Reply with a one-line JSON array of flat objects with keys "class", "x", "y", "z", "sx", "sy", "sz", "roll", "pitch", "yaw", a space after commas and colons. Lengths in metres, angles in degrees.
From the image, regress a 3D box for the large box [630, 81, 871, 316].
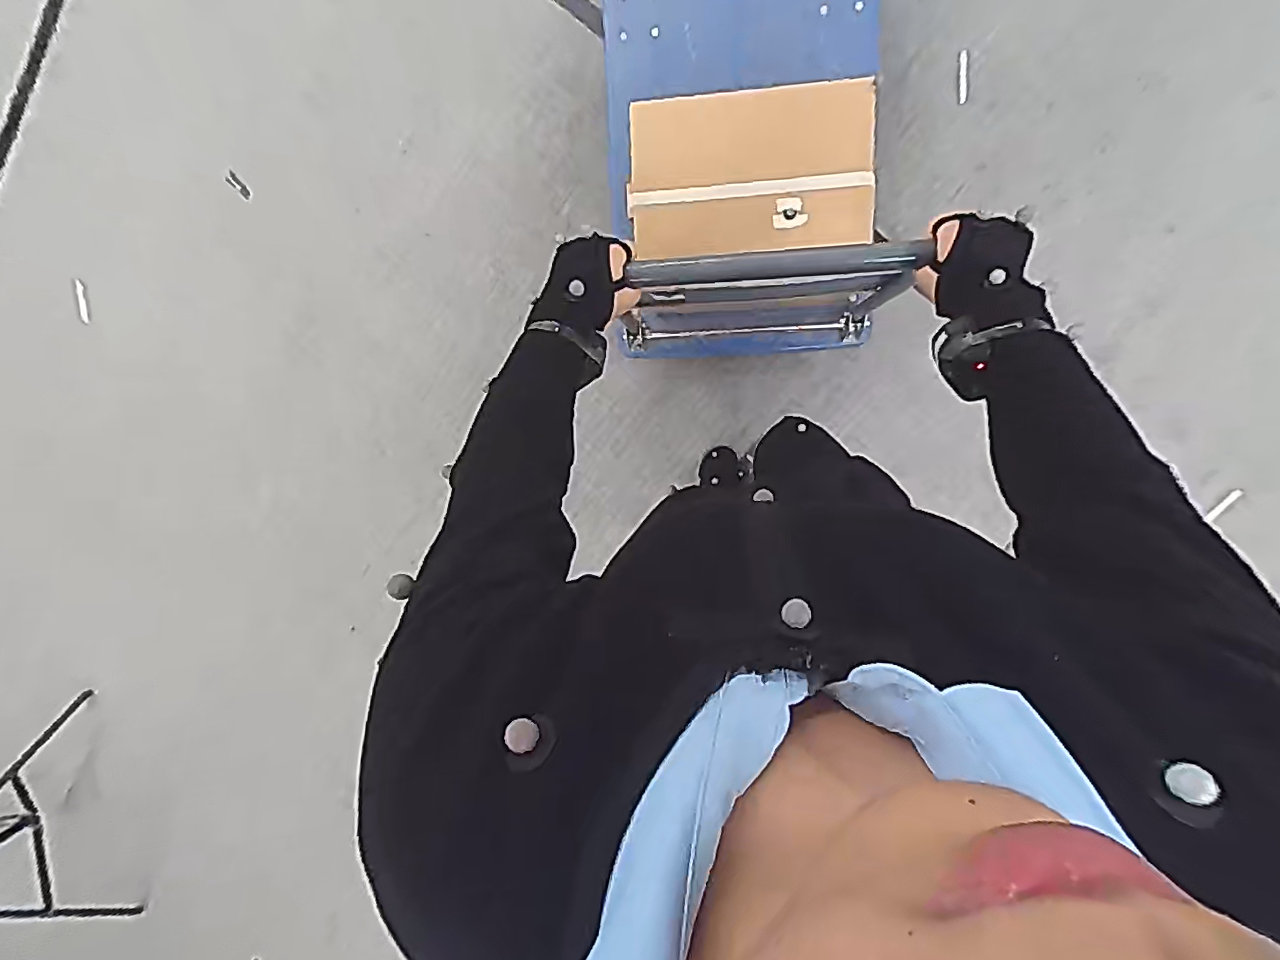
[{"class": "large box", "x": 0.201, "y": -0.515, "z": 1.069, "sx": 0.408, "sy": 0.320, "sz": 0.320, "roll": -1, "pitch": 100, "yaw": 7}]
